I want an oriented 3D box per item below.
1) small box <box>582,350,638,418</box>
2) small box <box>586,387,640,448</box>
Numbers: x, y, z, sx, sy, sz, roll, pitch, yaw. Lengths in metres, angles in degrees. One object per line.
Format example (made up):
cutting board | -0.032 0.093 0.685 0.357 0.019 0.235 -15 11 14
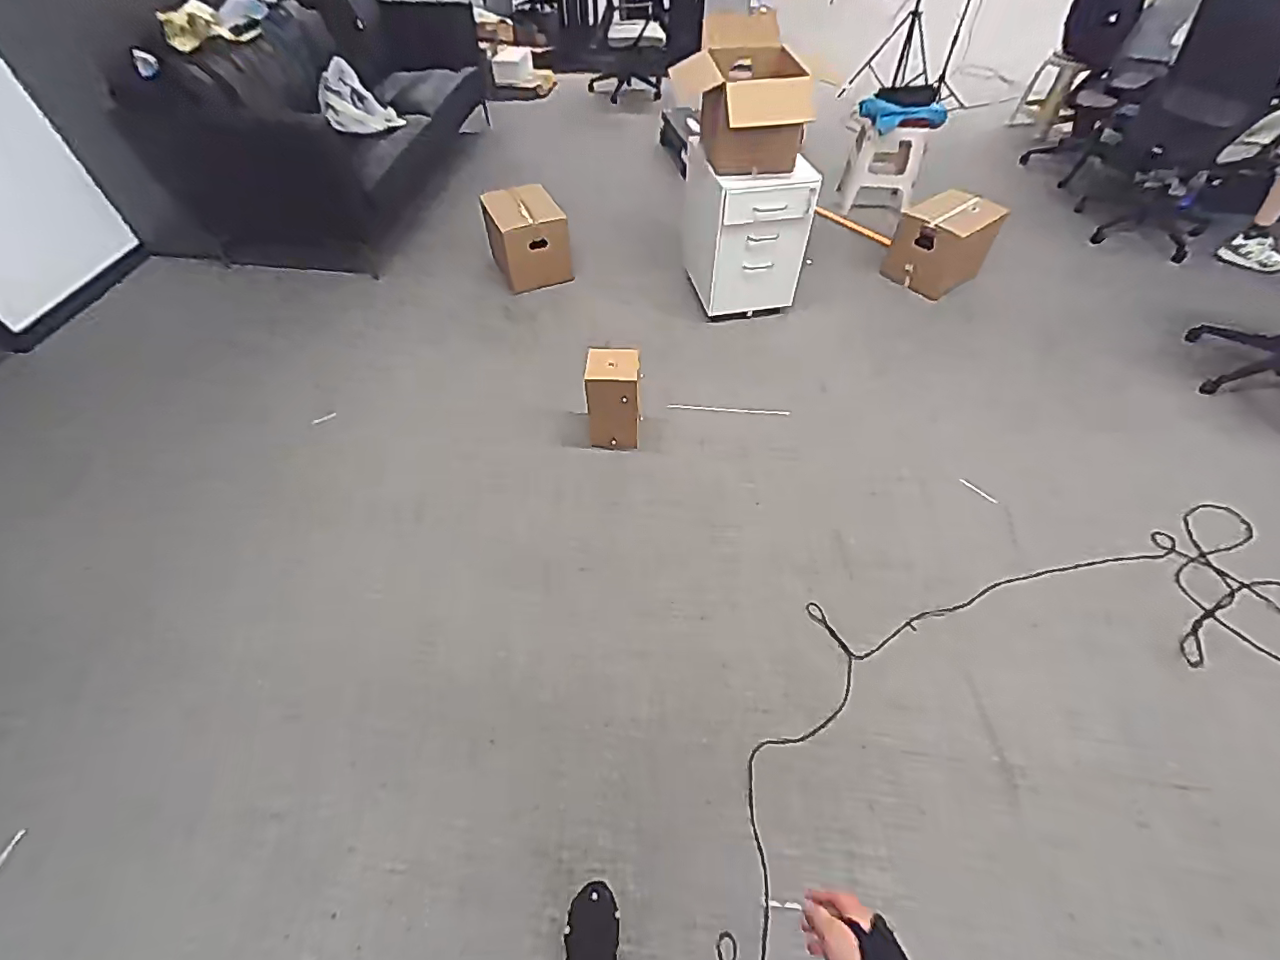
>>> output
small box | -0.097 -0.326 1.852 0.179 0.176 0.168 0 50 3
small box | -0.094 -0.231 1.985 0.179 0.176 0.168 3 51 3
